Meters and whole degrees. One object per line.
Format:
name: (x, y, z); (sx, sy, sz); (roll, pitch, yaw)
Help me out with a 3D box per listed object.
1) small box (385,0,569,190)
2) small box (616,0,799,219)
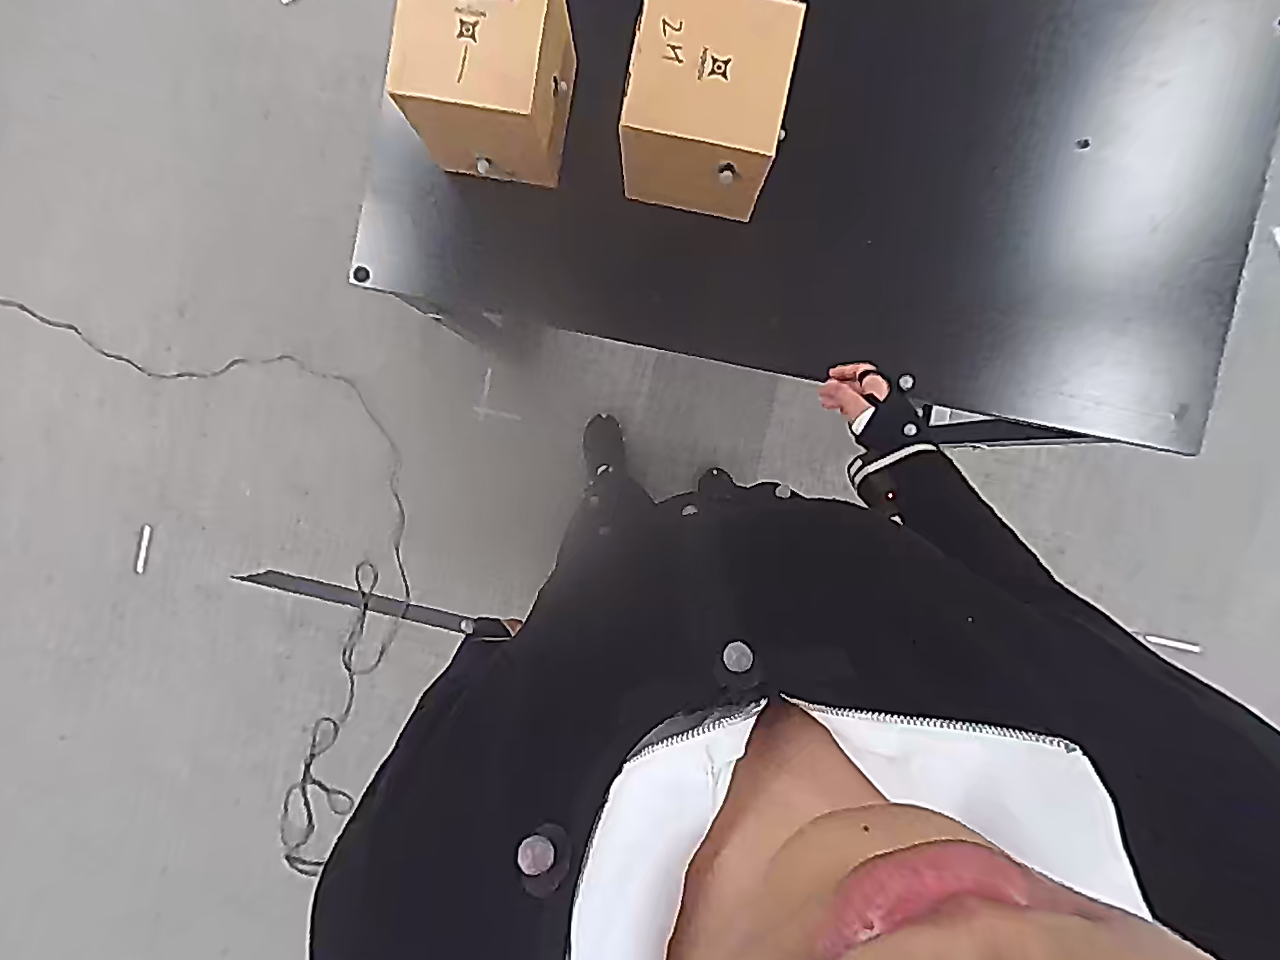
small box: (-0.188, -0.500, 0.675); (0.168, 0.176, 0.179); (10, 94, 1)
small box: (0.074, -0.450, 0.671); (0.179, 0.176, 0.168); (11, 92, 0)
